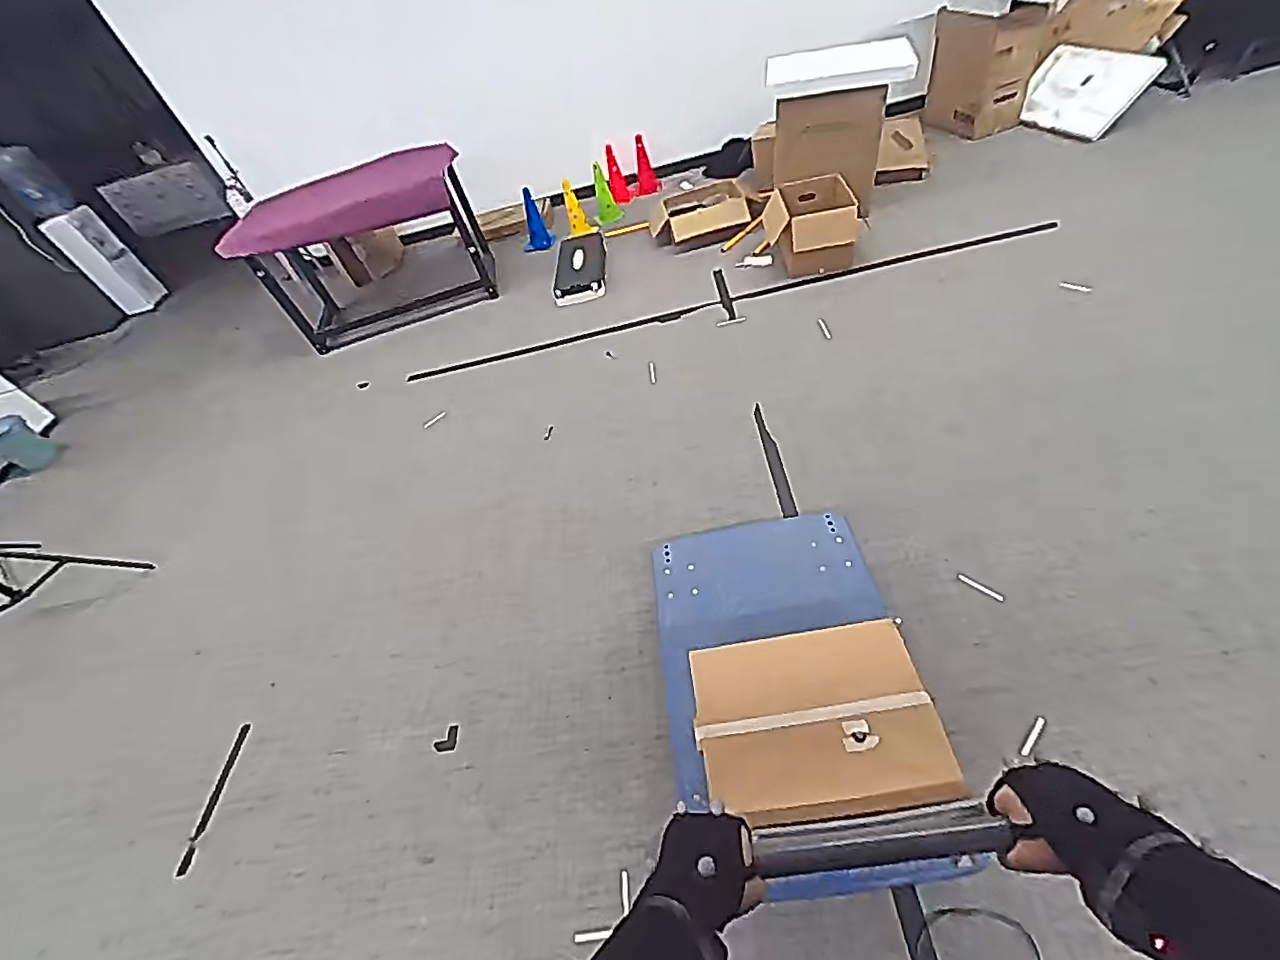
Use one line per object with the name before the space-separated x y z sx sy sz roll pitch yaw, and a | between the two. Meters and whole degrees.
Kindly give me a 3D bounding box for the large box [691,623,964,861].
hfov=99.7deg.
large box | 0.337 0.529 1.079 0.408 0.320 0.320 -11 48 5
